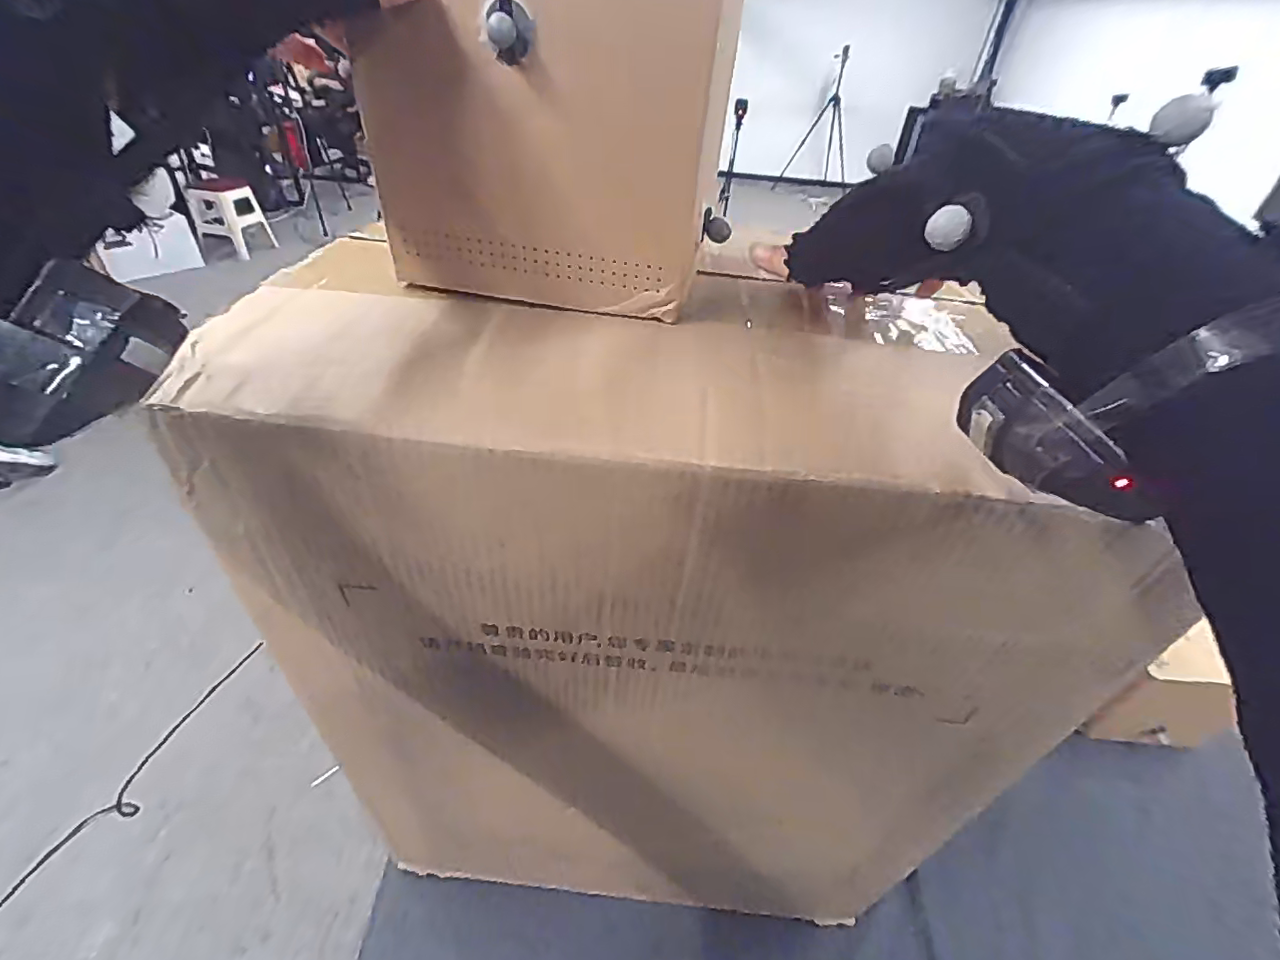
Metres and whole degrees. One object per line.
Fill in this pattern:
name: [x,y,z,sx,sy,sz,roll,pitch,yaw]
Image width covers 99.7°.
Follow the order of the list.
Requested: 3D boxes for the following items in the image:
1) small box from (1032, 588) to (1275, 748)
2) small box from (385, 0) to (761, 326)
small box: [0.767,0.293,0.836,0.179,0.176,0.168,6,38,0]
small box: [-0.031,-0.213,0.333,0.179,0.176,0.168,12,42,4]
